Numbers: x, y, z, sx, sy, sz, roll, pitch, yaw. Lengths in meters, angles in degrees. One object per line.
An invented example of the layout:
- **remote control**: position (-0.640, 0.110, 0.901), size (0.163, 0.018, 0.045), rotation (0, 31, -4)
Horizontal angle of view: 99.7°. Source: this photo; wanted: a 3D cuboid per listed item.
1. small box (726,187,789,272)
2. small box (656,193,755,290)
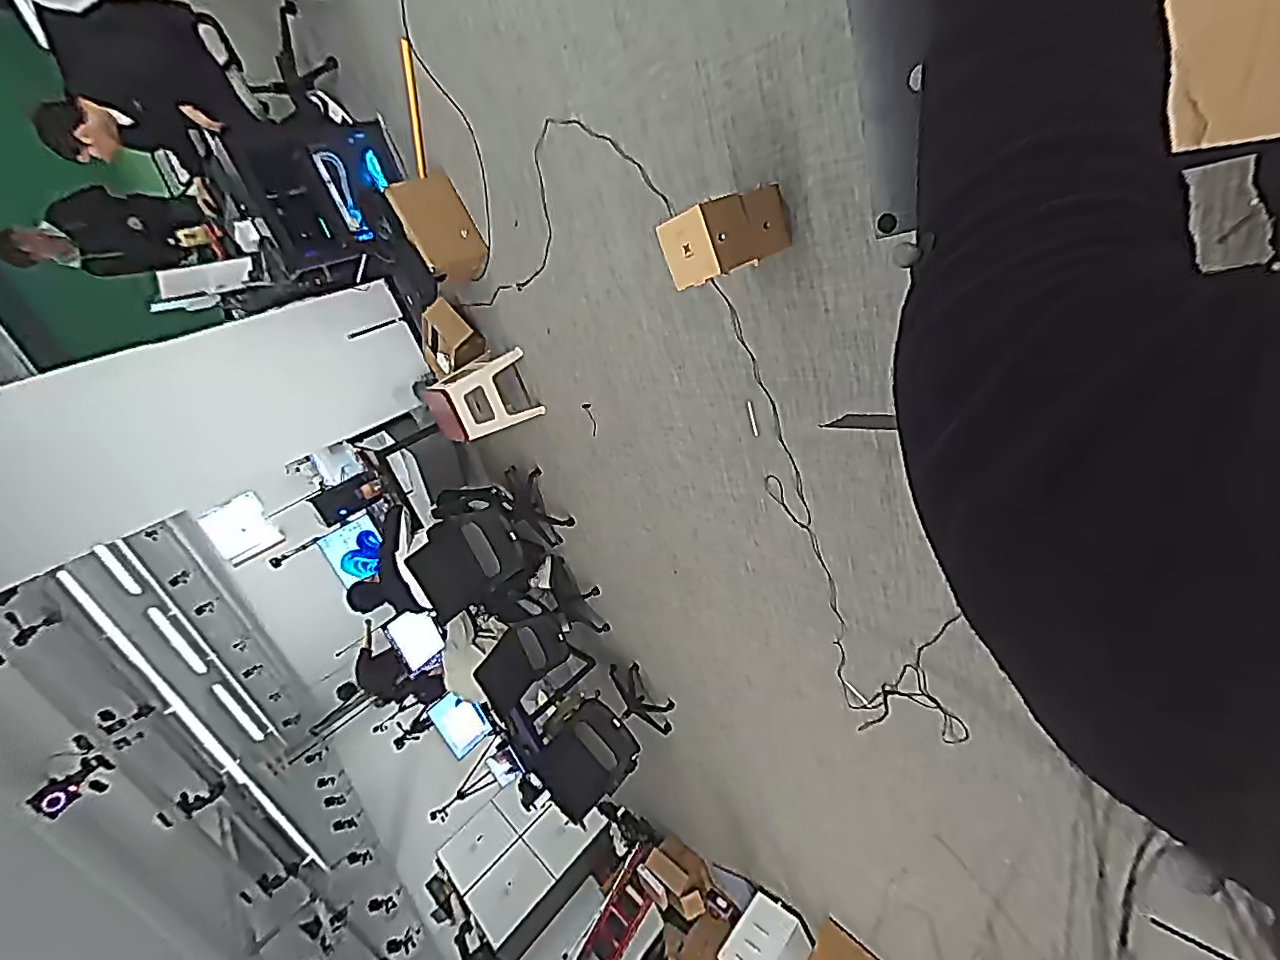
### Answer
- **small box**: position (0.294, -0.706, 1.528), size (0.168, 0.176, 0.179), rotation (4, 123, 50)
- **small box**: position (0.179, -0.633, 1.439), size (0.168, 0.176, 0.179), rotation (-1, 117, 51)
